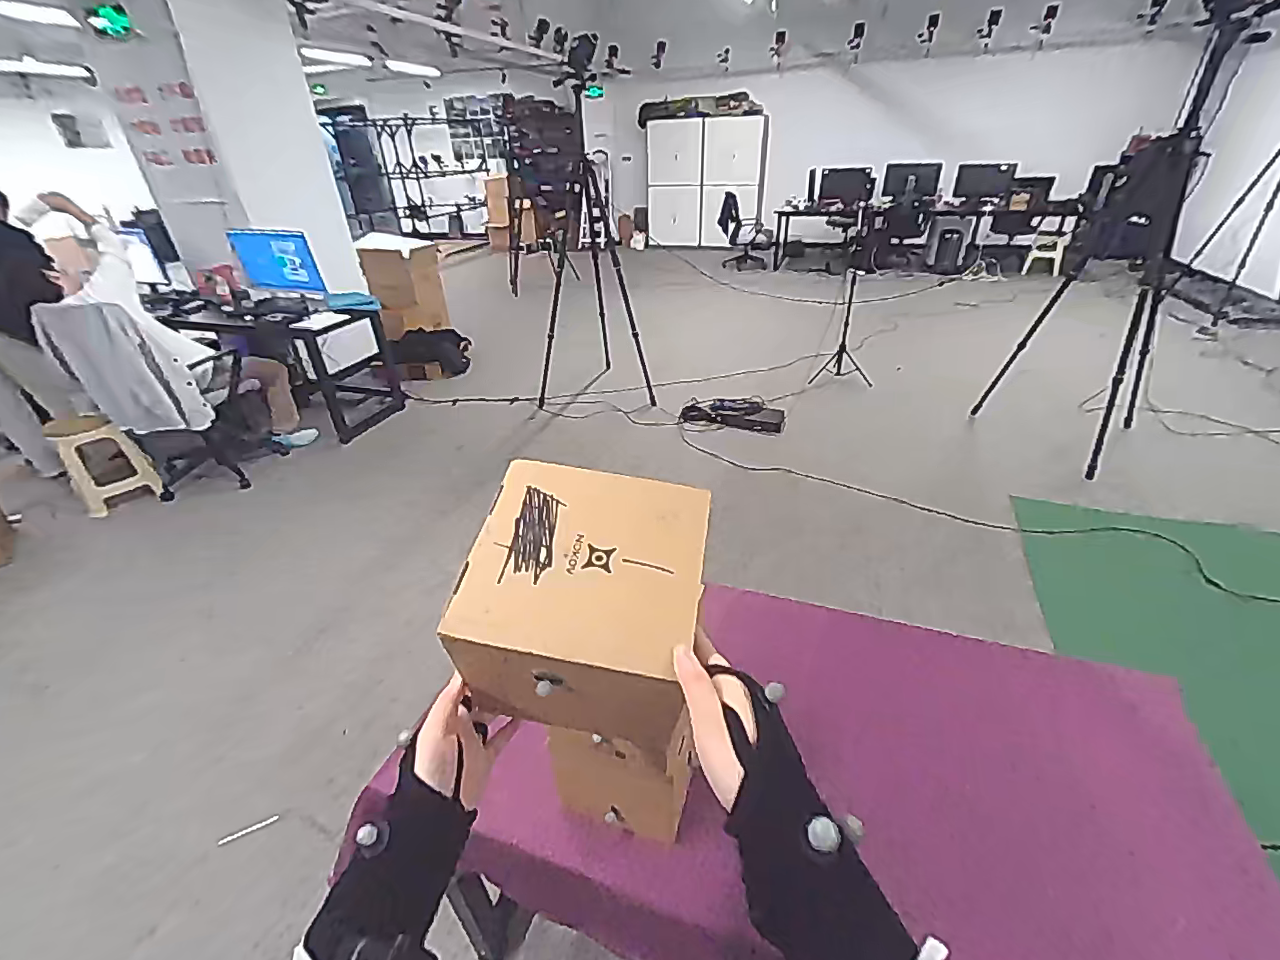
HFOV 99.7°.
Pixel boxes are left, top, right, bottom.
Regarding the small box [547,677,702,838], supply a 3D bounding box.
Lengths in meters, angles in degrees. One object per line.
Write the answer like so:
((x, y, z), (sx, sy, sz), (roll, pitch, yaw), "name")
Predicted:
((-0.015, 0.386, 0.795), (0.179, 0.176, 0.168), (9, 33, 16), "small box")

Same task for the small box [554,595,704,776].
((-0.018, 0.243, 0.713), (0.168, 0.176, 0.179), (9, 33, 18), "small box")

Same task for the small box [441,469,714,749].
((-0.041, 0.116, 0.469), (0.179, 0.176, 0.168), (10, 51, 3), "small box")
